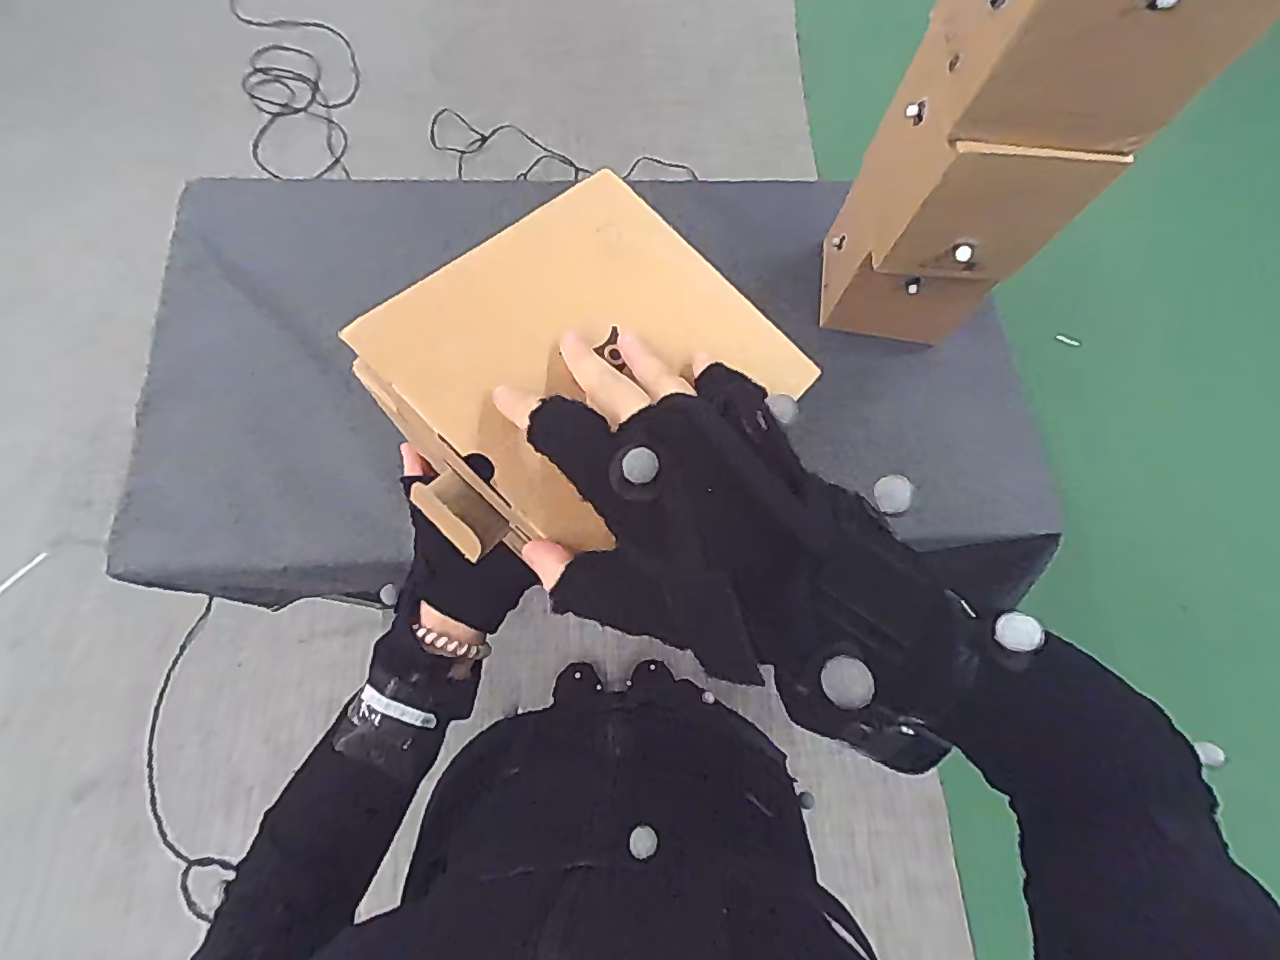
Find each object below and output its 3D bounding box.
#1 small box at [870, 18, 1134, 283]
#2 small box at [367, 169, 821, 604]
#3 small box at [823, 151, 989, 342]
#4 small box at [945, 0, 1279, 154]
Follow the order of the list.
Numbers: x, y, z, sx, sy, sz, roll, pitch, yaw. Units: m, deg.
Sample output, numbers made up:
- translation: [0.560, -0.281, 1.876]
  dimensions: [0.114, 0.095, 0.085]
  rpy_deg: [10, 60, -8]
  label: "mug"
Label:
- translation: [0.367, -0.345, 0.588]
  dimensions: [0.168, 0.176, 0.179]
  rpy_deg: [3, 73, -1]
  label: "small box"
- translation: [-0.029, -0.041, 0.348]
  dimensions: [0.168, 0.176, 0.179]
  rpy_deg: [44, 74, 1]
  label: "small box"
- translation: [0.368, -0.312, 0.749]
  dimensions: [0.179, 0.176, 0.168]
  rpy_deg: [10, 73, 0]
  label: "small box"
- translation: [0.370, -0.397, 0.433]
  dimensions: [0.179, 0.176, 0.168]
  rpy_deg: [6, 73, -1]
  label: "small box"
